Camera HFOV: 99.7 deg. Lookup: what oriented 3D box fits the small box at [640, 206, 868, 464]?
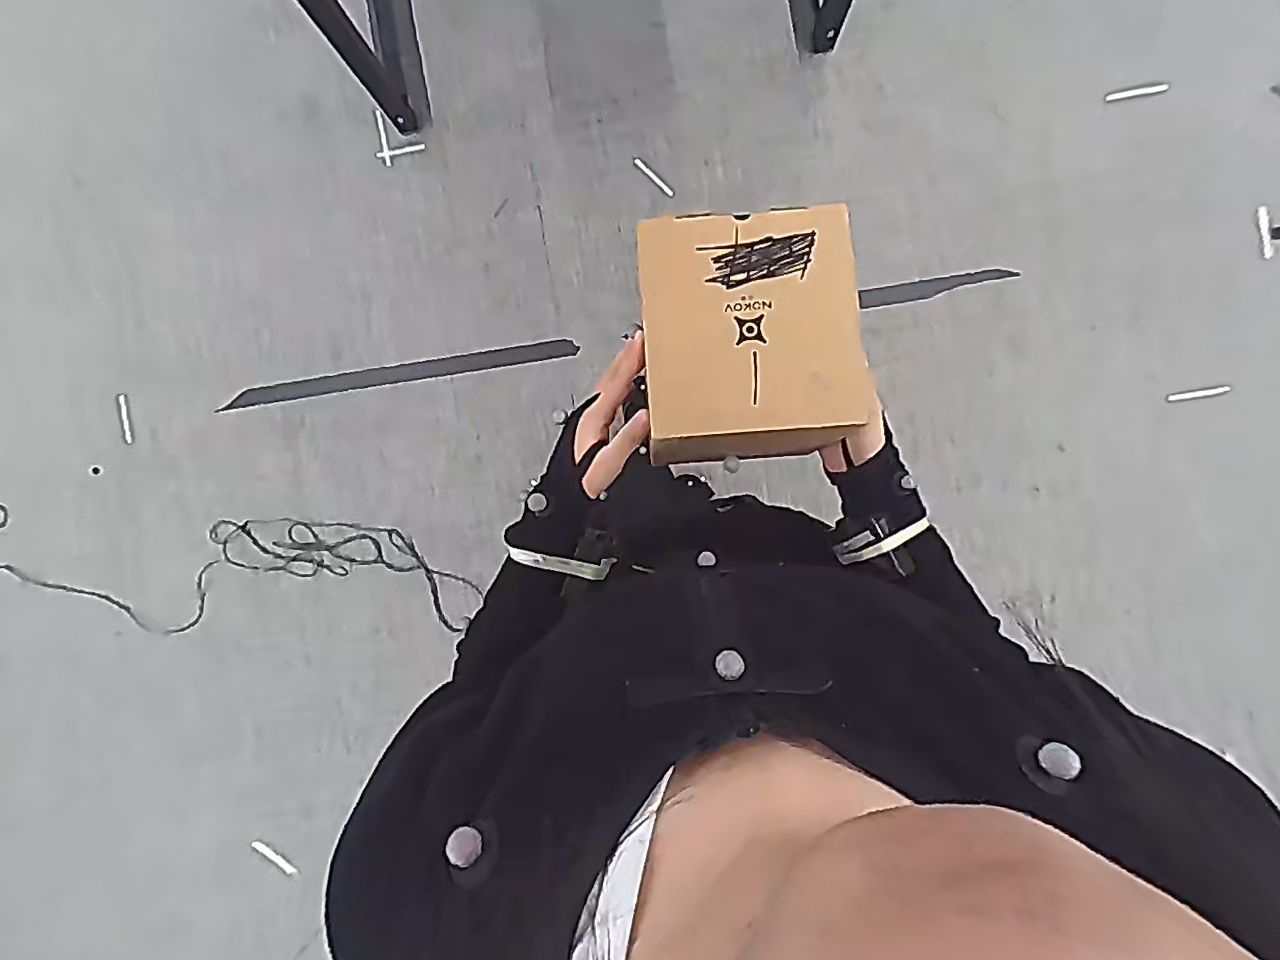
[{"bbox_3d":[0.087,-0.116,0.496,0.168,0.176,0.179,-5,85,2],"label":"small box"}]
